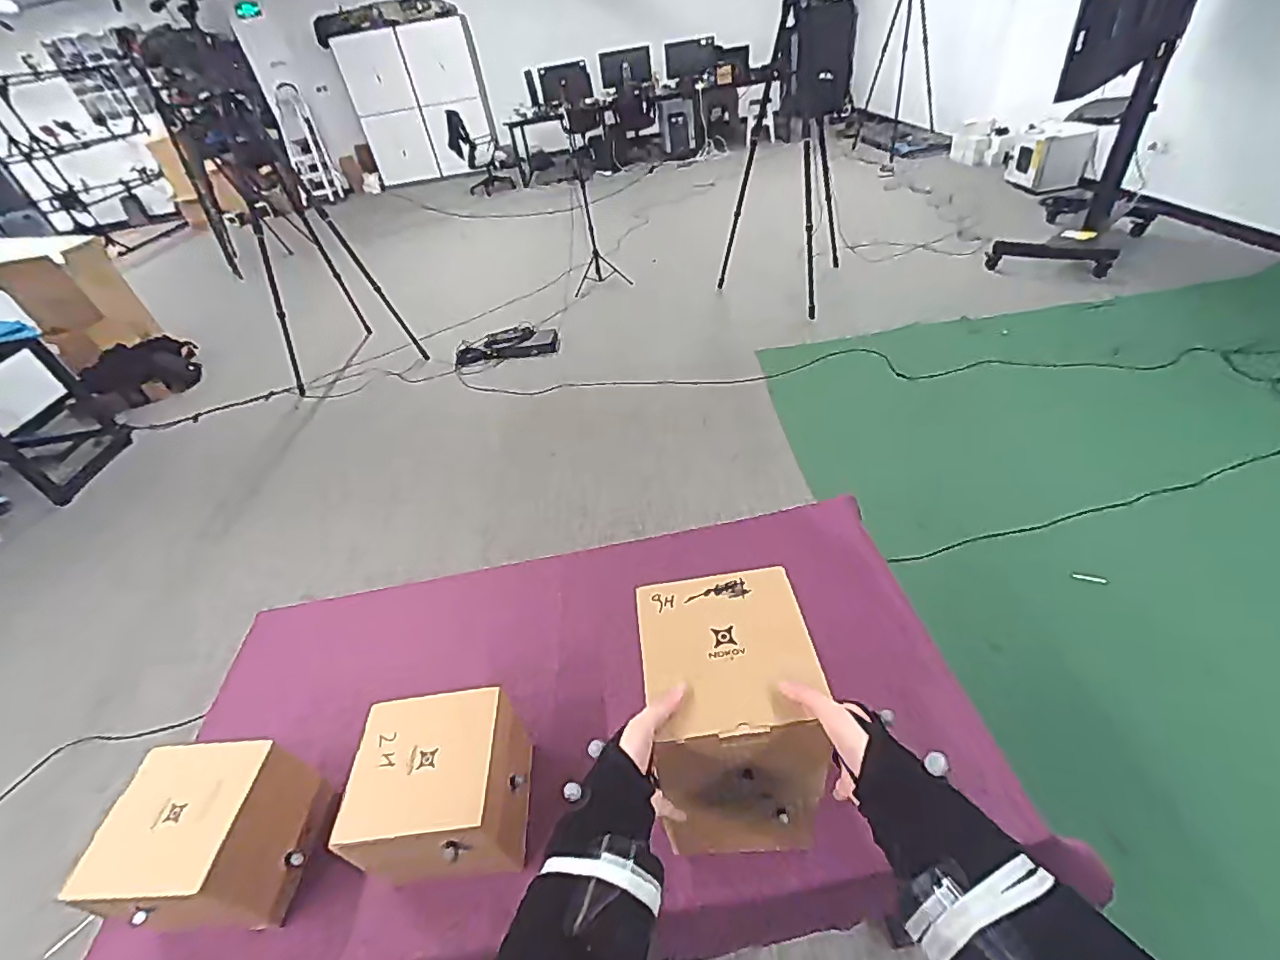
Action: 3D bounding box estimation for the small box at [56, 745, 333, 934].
[{"bbox_3d":[-0.547,0.464,0.696,0.179,0.176,0.168,-6,41,5],"label":"small box"}]

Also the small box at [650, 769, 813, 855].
[{"bbox_3d":[0.109,0.353,0.683,0.179,0.176,0.168,-6,40,5],"label":"small box"}]

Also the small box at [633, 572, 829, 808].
[{"bbox_3d":[0.089,0.228,0.579,0.168,0.176,0.179,-9,40,2],"label":"small box"}]

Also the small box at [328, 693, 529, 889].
[{"bbox_3d":[-0.252,0.403,0.702,0.179,0.176,0.168,-9,39,2],"label":"small box"}]
